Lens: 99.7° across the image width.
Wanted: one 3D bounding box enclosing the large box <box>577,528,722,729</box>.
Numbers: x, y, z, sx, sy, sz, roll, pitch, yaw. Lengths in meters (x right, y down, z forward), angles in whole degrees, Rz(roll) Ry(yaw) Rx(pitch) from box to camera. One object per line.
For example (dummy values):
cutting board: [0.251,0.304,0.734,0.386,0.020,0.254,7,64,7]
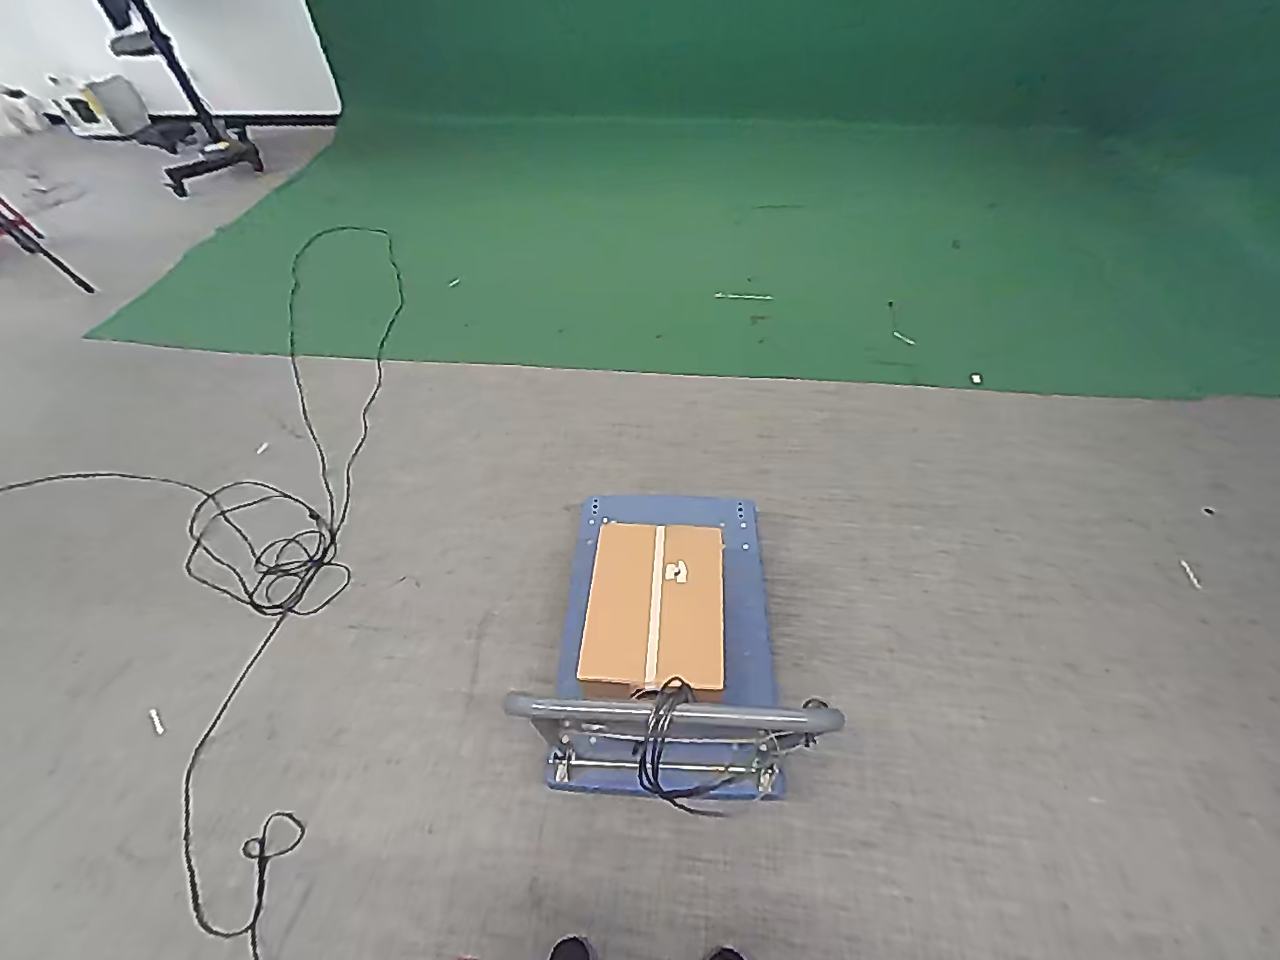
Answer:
large box: [0.037,0.377,1.375,0.320,0.320,0.408,3,50,4]
